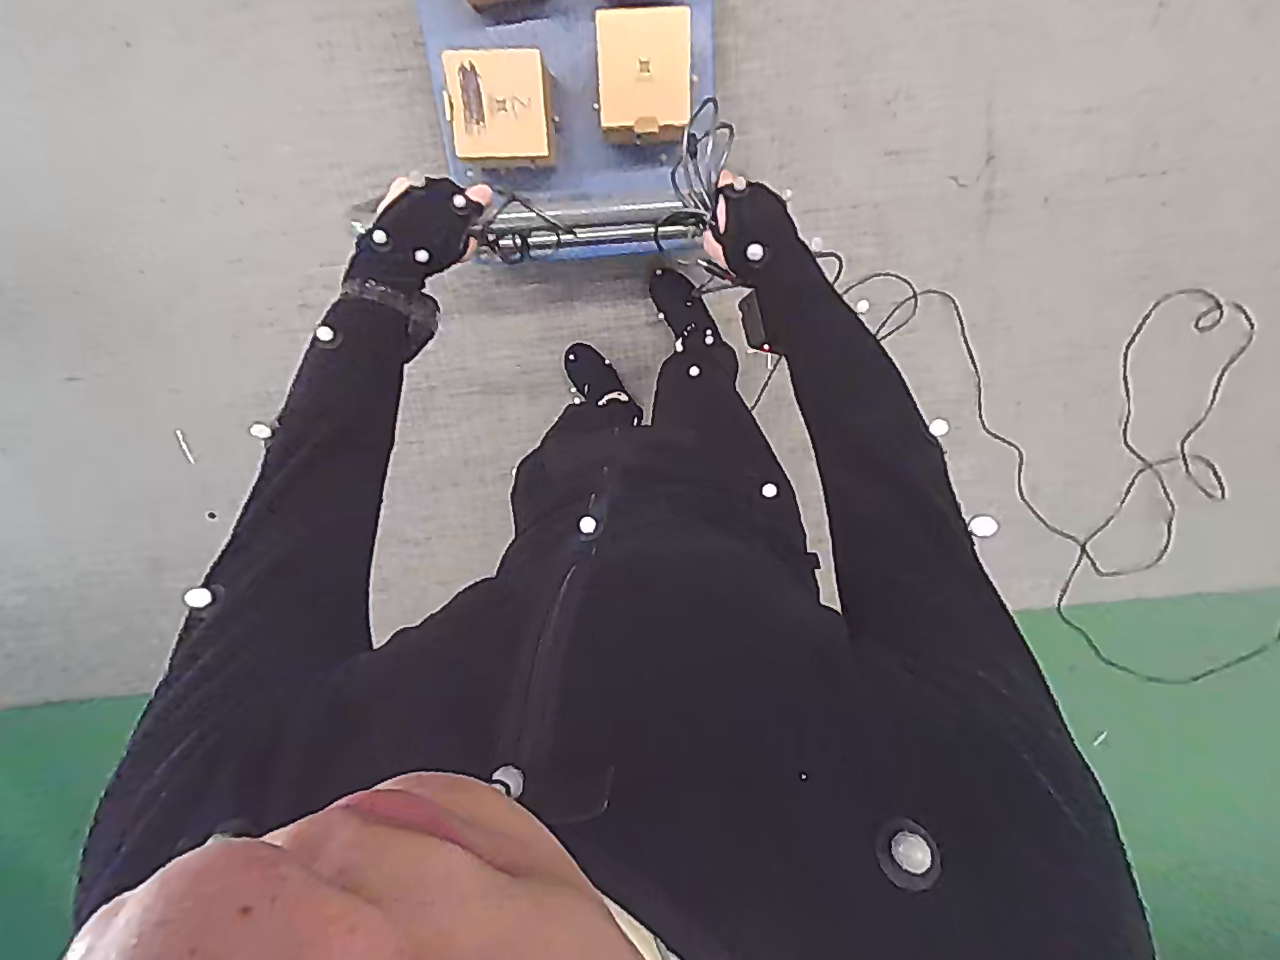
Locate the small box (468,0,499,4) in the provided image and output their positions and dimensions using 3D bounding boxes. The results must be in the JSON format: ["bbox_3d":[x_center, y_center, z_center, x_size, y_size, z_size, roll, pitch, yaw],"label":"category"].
[{"bbox_3d":[-0.264,-0.966,0.938,0.168,0.176,0.179,-7,115,2],"label":"small box"}]

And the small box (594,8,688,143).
[{"bbox_3d":[0.002,-0.762,1.036,0.168,0.176,0.179,-2,115,1],"label":"small box"}]
